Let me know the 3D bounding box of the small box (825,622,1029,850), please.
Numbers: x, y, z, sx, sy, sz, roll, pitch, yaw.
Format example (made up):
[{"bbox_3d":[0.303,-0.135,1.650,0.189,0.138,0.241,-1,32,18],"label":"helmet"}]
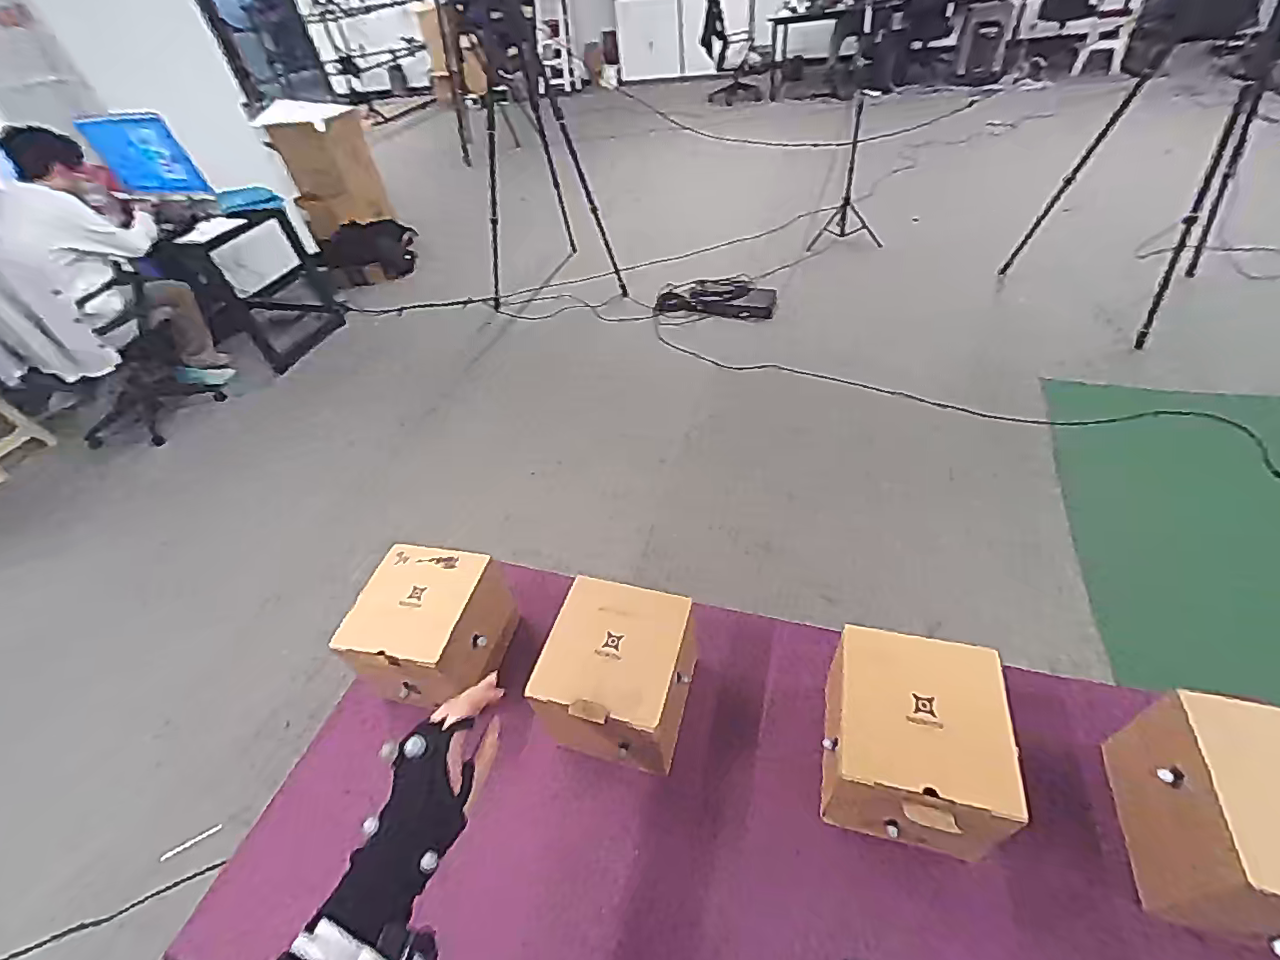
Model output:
[{"bbox_3d":[0.311,0.295,0.629,0.168,0.176,0.179,6,48,16],"label":"small box"}]

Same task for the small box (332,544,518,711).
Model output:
[{"bbox_3d":[-0.302,0.221,0.807,0.168,0.176,0.179,5,48,14],"label":"small box"}]

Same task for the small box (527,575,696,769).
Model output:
[{"bbox_3d":[-0.023,0.258,0.724,0.168,0.176,0.179,8,48,17],"label":"small box"}]

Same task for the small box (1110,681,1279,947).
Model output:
[{"bbox_3d":[0.612,0.333,0.532,0.168,0.176,0.179,7,48,18],"label":"small box"}]
